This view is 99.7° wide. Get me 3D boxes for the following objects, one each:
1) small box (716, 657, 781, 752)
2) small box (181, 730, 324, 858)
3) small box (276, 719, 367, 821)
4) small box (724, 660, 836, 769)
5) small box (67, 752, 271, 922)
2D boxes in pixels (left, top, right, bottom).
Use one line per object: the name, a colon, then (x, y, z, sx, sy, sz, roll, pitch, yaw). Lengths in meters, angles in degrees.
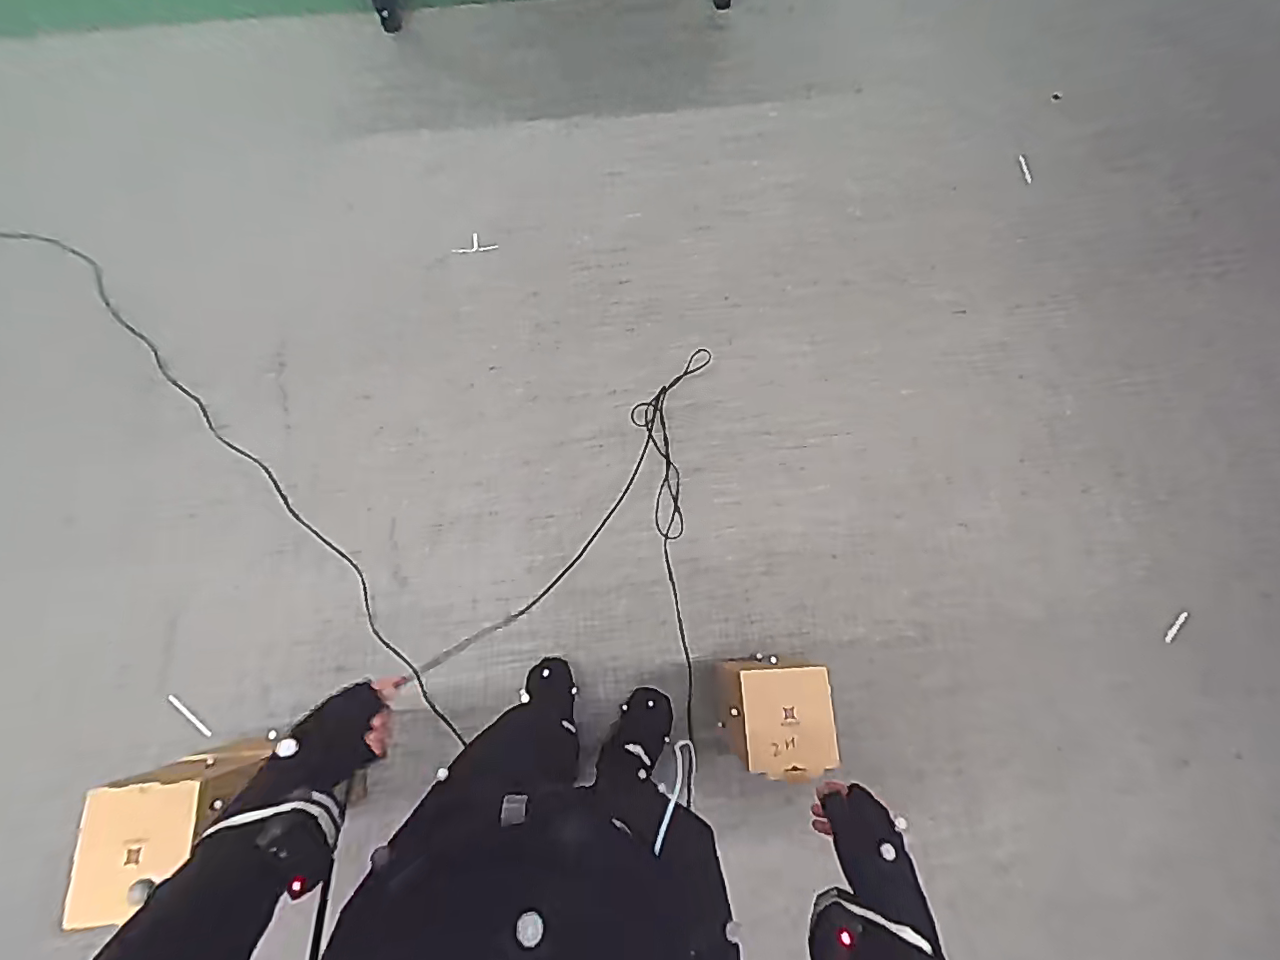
small box: (0.264, 0.493, 1.206, 0.168, 0.176, 0.179, 0, 75, -1)
small box: (-0.718, 0.578, 1.005, 0.168, 0.176, 0.179, -3, 74, -1)
small box: (-0.714, 0.620, 1.164, 0.179, 0.176, 0.168, -4, 75, -2)
small box: (0.265, 0.450, 1.065, 0.168, 0.176, 0.179, -2, 76, -2)
small box: (-0.715, 0.543, 0.845, 0.168, 0.176, 0.179, -4, 74, -1)
